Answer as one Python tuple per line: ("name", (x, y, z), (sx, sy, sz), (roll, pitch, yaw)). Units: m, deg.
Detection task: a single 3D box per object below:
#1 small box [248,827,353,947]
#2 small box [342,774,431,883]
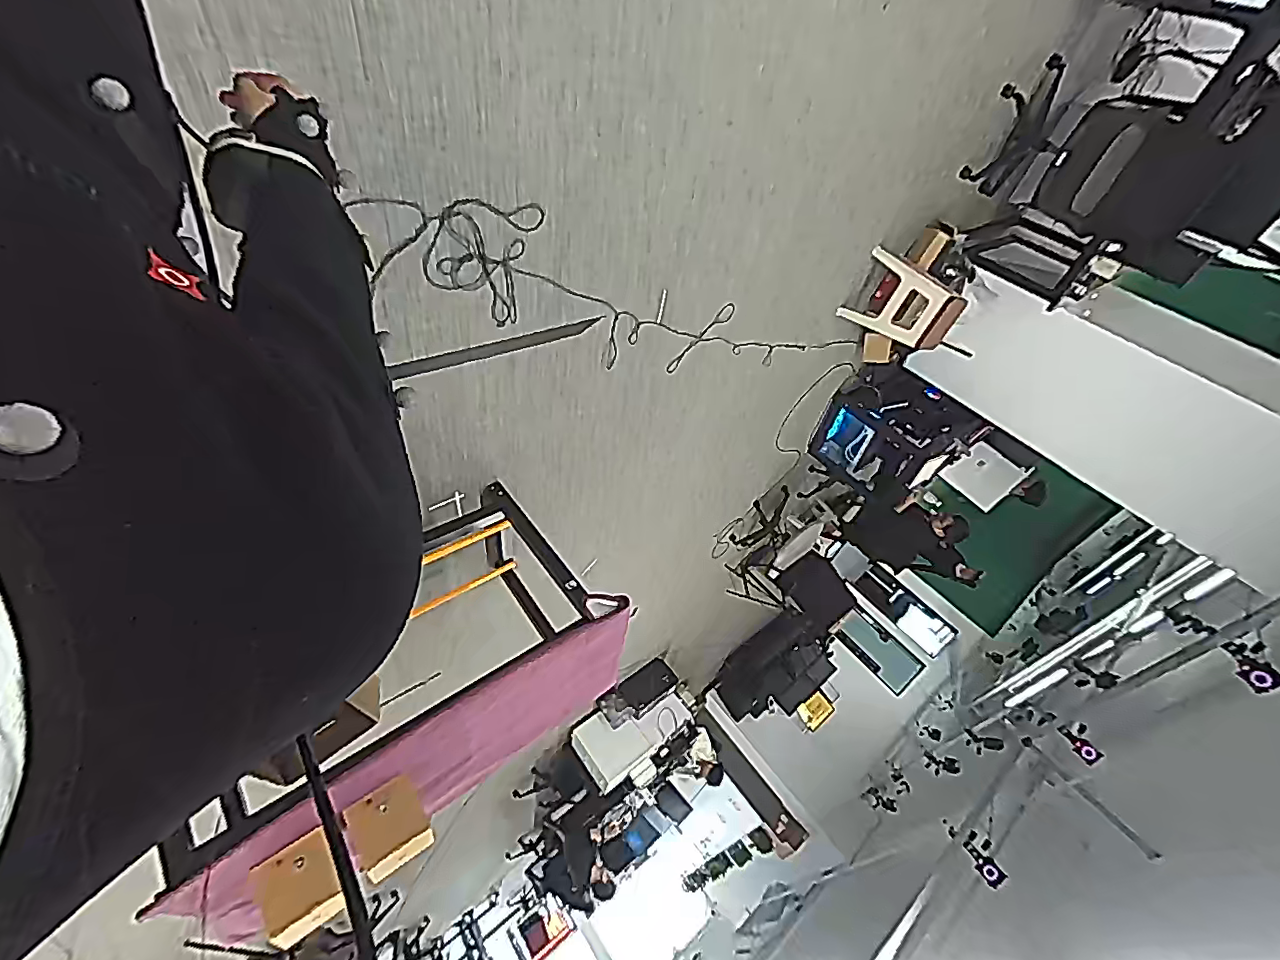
("small box", (-0.842, 1.008, 1.347), (0.168, 0.176, 0.179), (-23, 146, -35))
("small box", (-0.679, 0.932, 1.457), (0.168, 0.176, 0.179), (-23, 146, -34))
